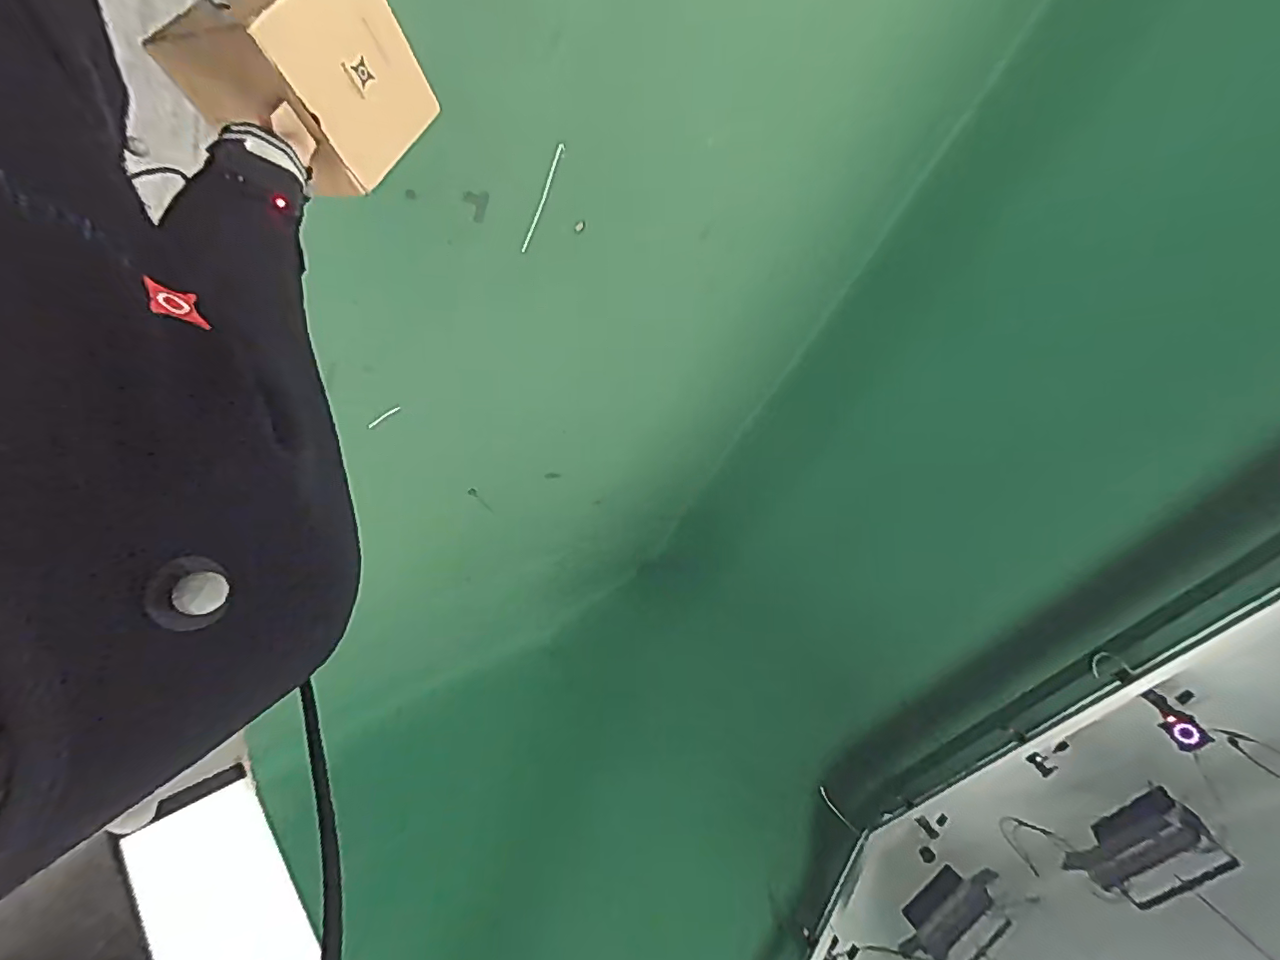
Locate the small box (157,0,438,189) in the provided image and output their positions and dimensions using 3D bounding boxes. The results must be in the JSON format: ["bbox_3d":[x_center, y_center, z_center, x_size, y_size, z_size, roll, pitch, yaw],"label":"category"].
[{"bbox_3d":[-0.371,-0.449,0.598,0.168,0.176,0.179,66,40,-58],"label":"small box"}]
